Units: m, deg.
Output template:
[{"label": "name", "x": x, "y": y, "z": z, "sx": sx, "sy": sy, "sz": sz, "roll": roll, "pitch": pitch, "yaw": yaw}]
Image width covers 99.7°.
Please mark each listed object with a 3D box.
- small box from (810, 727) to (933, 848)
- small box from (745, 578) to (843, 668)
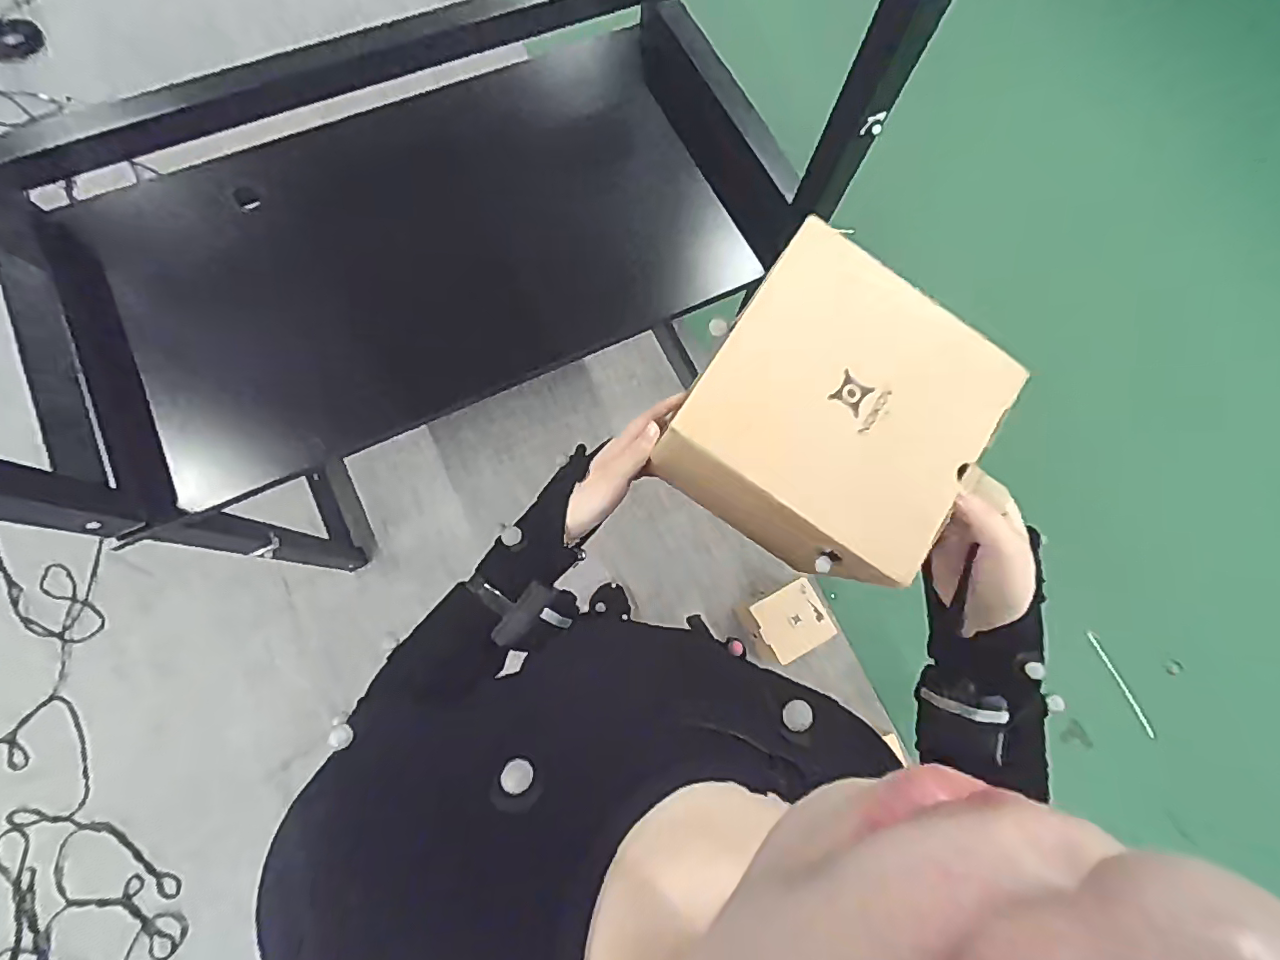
[{"label": "small box", "x": 0.496, "y": 0.660, "z": 1.188, "sx": 0.168, "sy": 0.176, "sz": 0.179, "roll": -14, "pitch": 77, "yaw": -5}, {"label": "small box", "x": 0.393, "y": 0.375, "z": 1.425, "sx": 0.179, "sy": 0.176, "sz": 0.168, "roll": -26, "pitch": 78, "yaw": -9}]
